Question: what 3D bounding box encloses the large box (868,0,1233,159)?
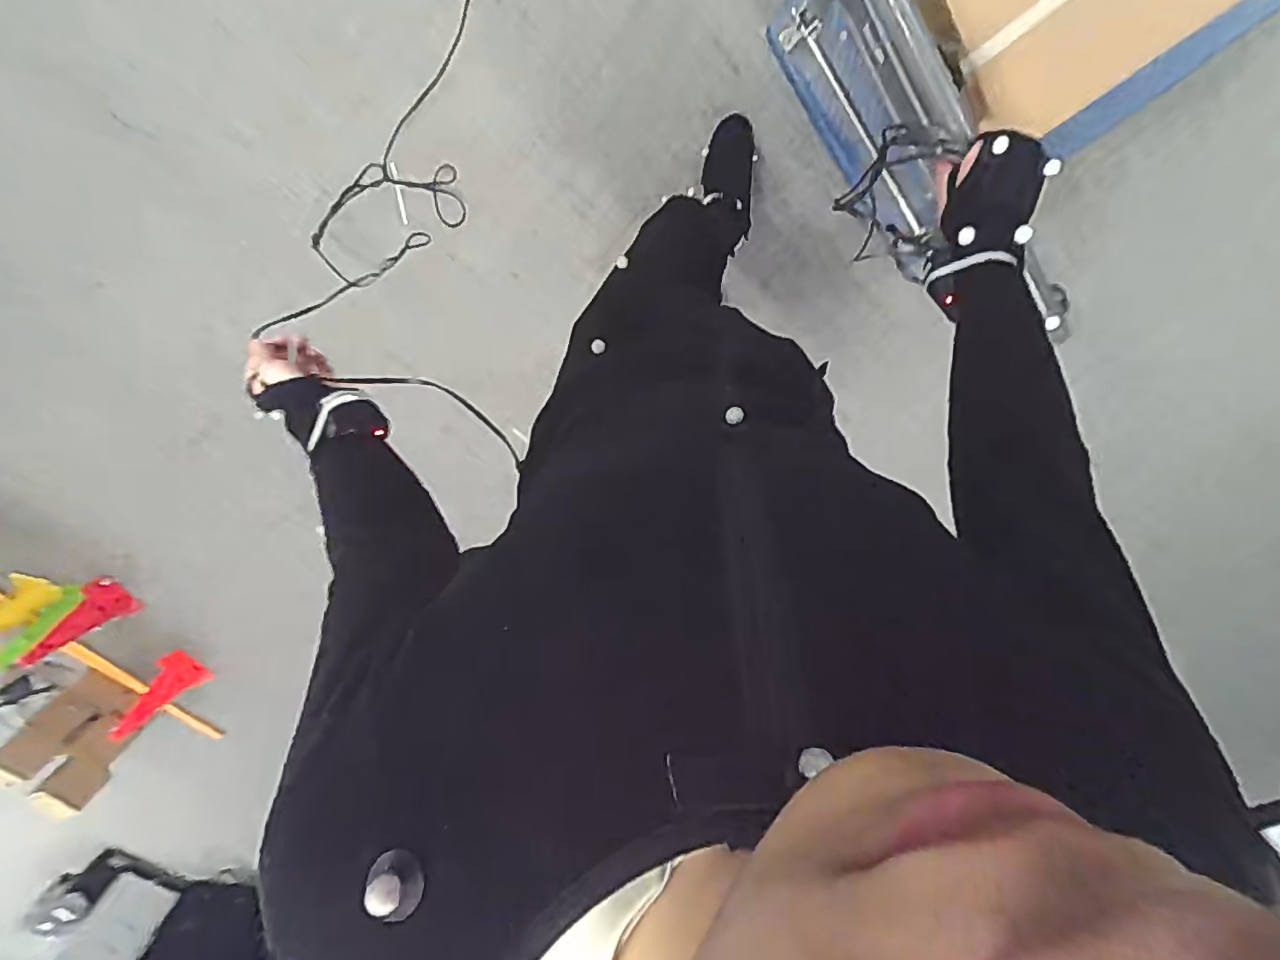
[{"bbox_3d":[0.644,-0.780,0.839,0.408,0.320,0.320,-32,112,21],"label":"large box"}]
